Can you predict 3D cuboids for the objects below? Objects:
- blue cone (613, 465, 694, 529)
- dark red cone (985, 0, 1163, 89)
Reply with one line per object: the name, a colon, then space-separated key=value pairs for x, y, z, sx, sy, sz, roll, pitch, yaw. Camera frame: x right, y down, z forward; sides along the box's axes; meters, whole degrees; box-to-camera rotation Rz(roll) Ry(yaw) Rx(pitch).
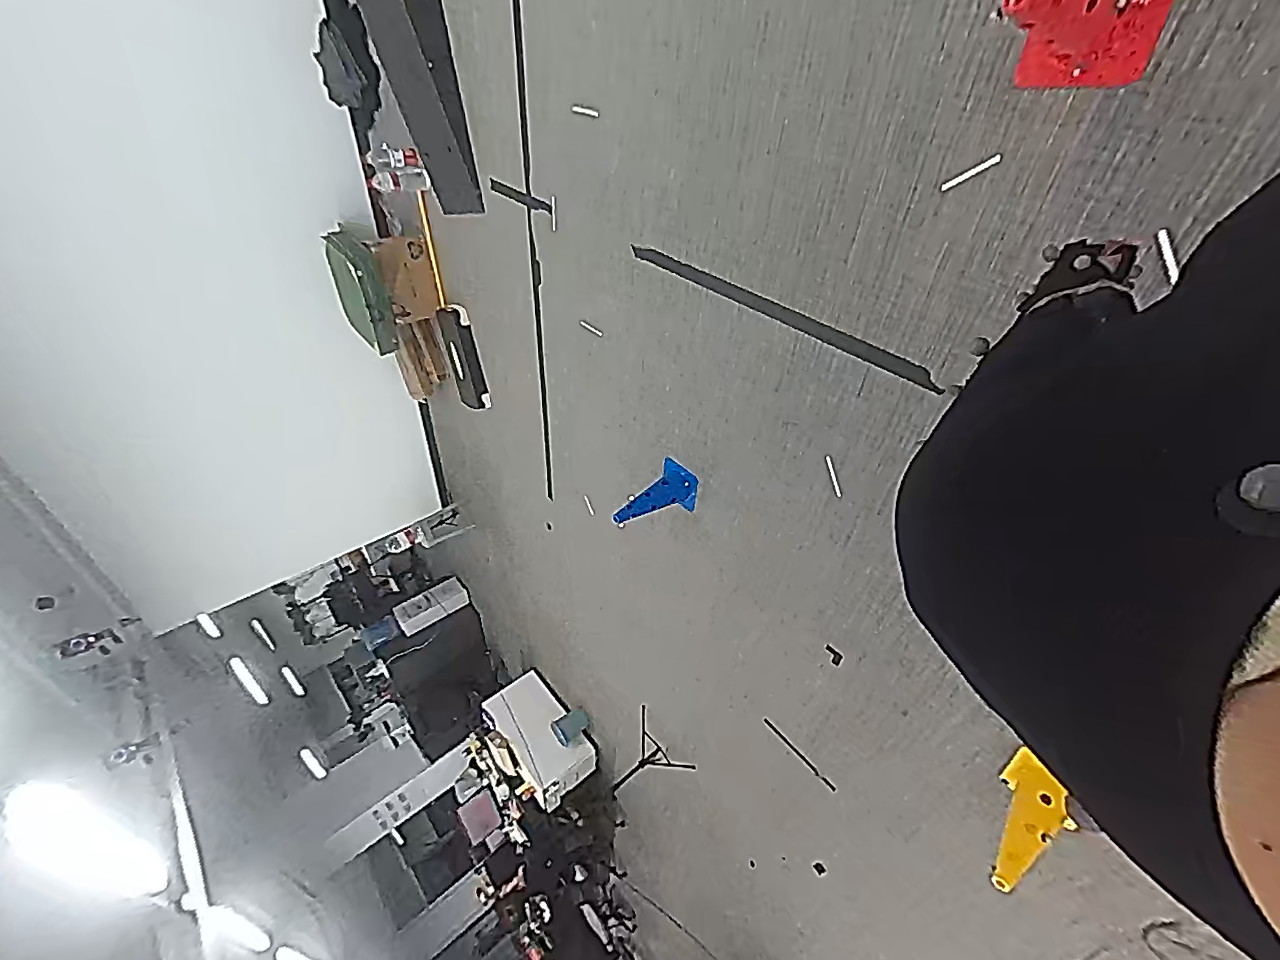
blue cone: x=0.041 y=0.103 z=2.261 sx=0.193 sy=0.380 sz=0.192 roll=39 pitch=142 yaw=33
dark red cone: x=0.616 y=-0.710 z=0.809 sx=0.202 sy=0.394 sz=0.201 roll=32 pitch=138 yaw=39
